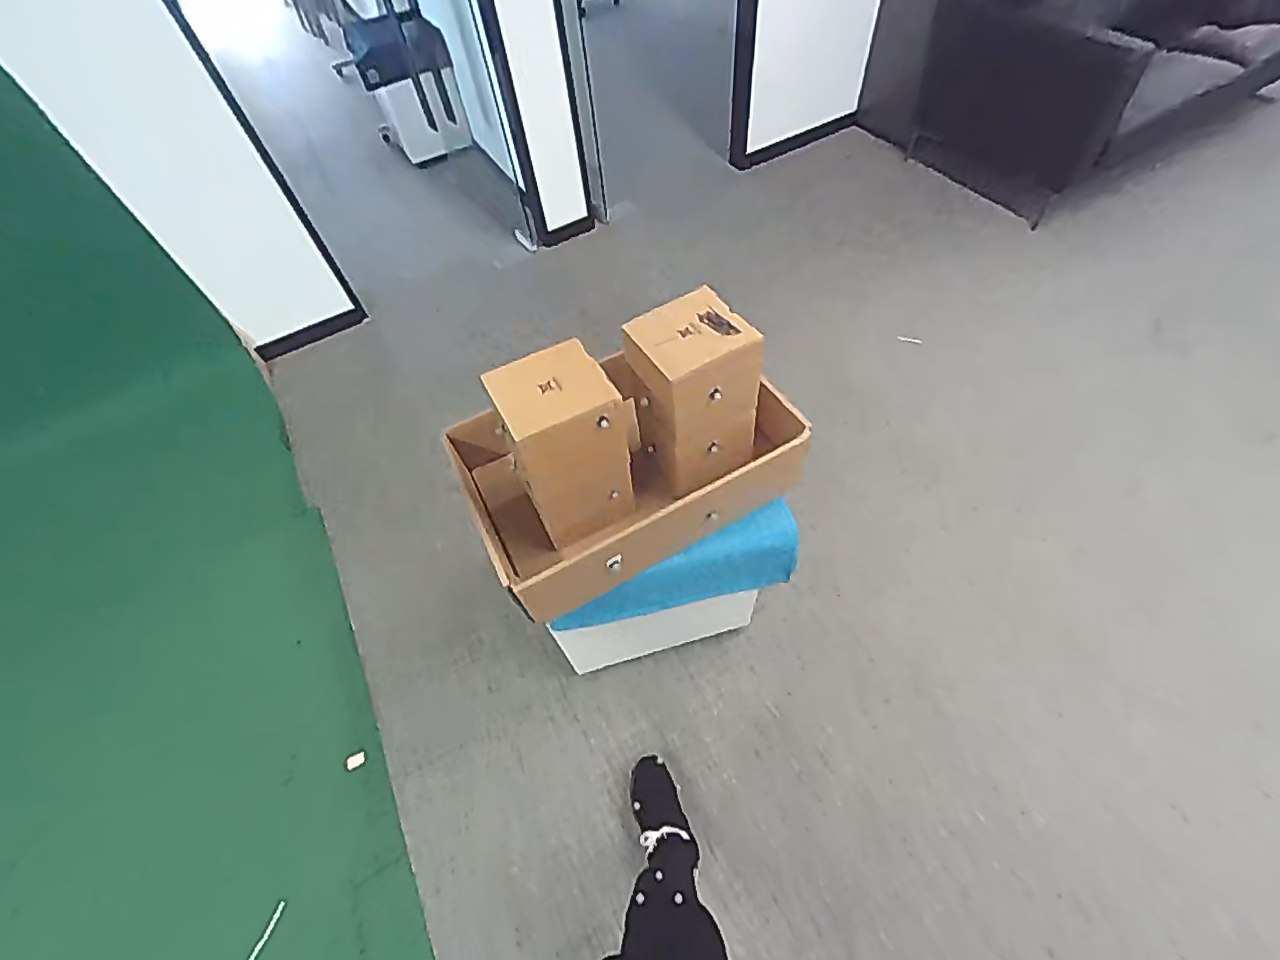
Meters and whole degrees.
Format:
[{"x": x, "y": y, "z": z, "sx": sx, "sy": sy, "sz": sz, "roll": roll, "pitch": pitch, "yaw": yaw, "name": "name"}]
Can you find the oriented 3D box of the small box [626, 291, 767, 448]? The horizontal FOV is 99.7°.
[{"x": 0.096, "y": -0.189, "z": 0.941, "sx": 0.179, "sy": 0.176, "sz": 0.168, "roll": -28, "pitch": 55, "yaw": -11, "name": "small box"}]
